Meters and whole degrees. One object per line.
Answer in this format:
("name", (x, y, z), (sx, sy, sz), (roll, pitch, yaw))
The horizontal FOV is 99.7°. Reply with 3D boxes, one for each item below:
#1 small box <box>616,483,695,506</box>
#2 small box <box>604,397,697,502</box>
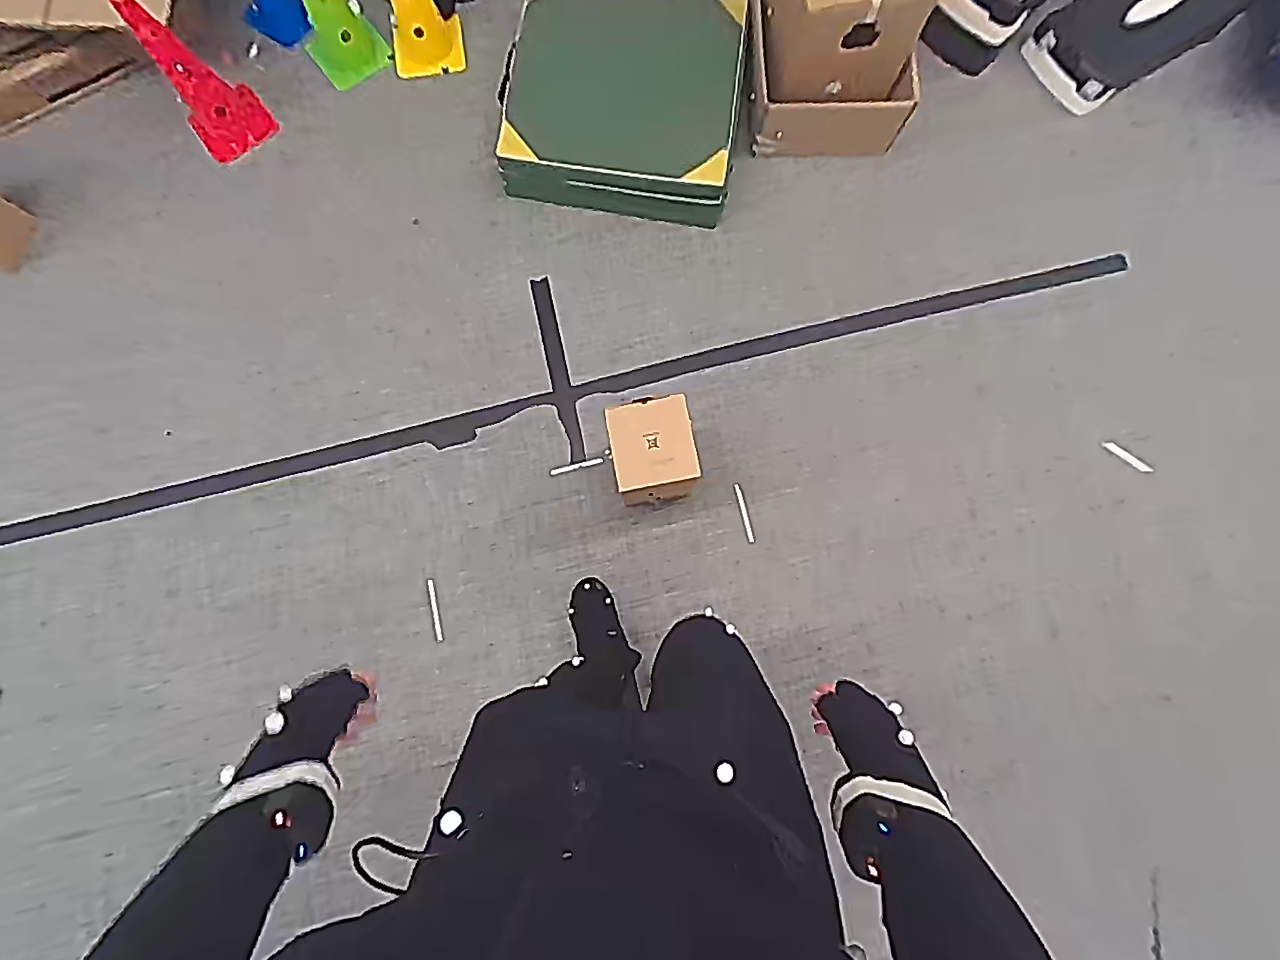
("small box", (0.024, -0.037, 1.316), (0.179, 0.176, 0.168), (-9, 80, -4))
("small box", (0.019, -0.059, 1.154), (0.168, 0.176, 0.179), (-10, 82, -2))
